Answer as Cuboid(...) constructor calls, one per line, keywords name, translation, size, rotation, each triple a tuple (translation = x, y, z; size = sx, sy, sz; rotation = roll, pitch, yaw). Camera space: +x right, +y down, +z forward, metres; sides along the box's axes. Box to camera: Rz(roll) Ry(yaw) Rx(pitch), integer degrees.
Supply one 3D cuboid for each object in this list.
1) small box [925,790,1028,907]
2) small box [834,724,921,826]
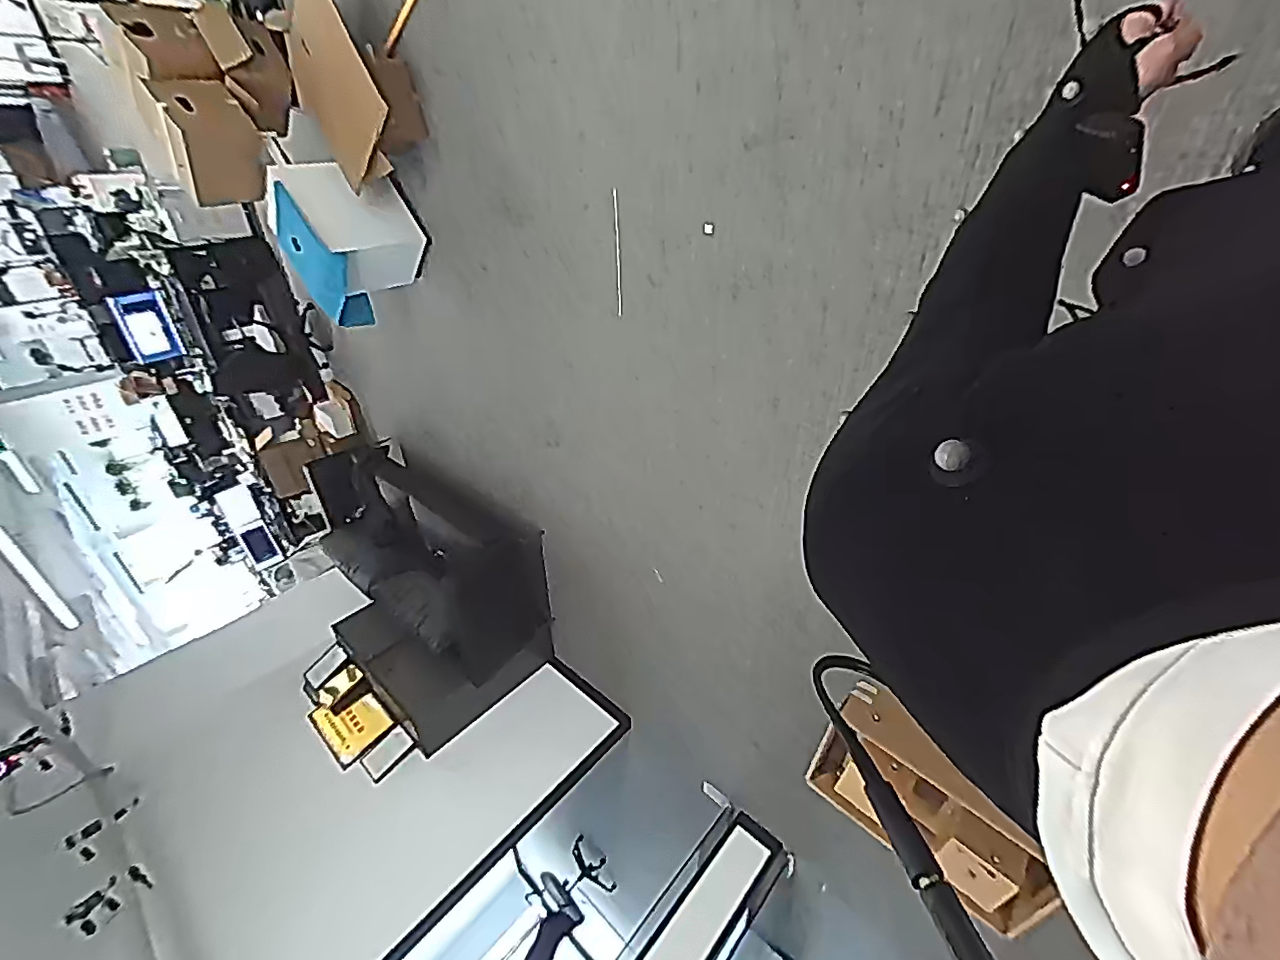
Cuboid(name="small box", translation=(0.917, 0.996, 1.469), size=(0.168, 0.176, 0.179), rotation=(31, 134, 29))
Cuboid(name="small box", translation=(0.713, 0.872, 1.614), size=(0.168, 0.176, 0.179), rotation=(30, 134, 31))
